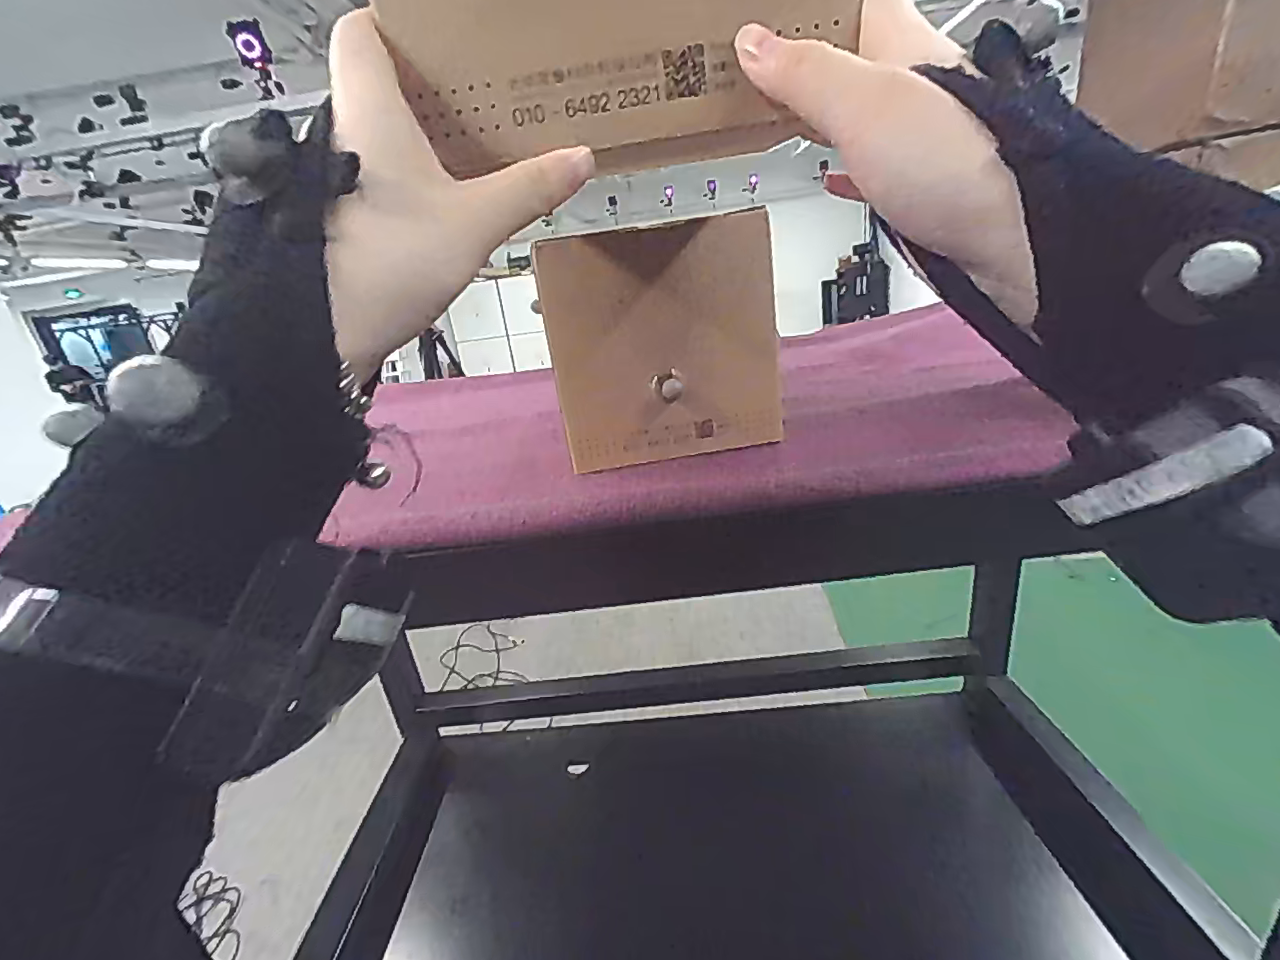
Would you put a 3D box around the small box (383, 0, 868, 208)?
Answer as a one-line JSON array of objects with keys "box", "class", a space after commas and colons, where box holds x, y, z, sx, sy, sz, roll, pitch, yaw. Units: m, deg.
[{"box": [-0.008, -0.222, 0.233, 0.168, 0.176, 0.179, -6, 28, 4], "class": "small box"}]

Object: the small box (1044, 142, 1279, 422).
[{"box": [0.428, -0.146, 0.390, 0.168, 0.176, 0.179, -4, 22, 14], "class": "small box"}]

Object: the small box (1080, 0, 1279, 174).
[{"box": [0.404, -0.293, 0.325, 0.168, 0.176, 0.179, -3, 23, 18], "class": "small box"}]
